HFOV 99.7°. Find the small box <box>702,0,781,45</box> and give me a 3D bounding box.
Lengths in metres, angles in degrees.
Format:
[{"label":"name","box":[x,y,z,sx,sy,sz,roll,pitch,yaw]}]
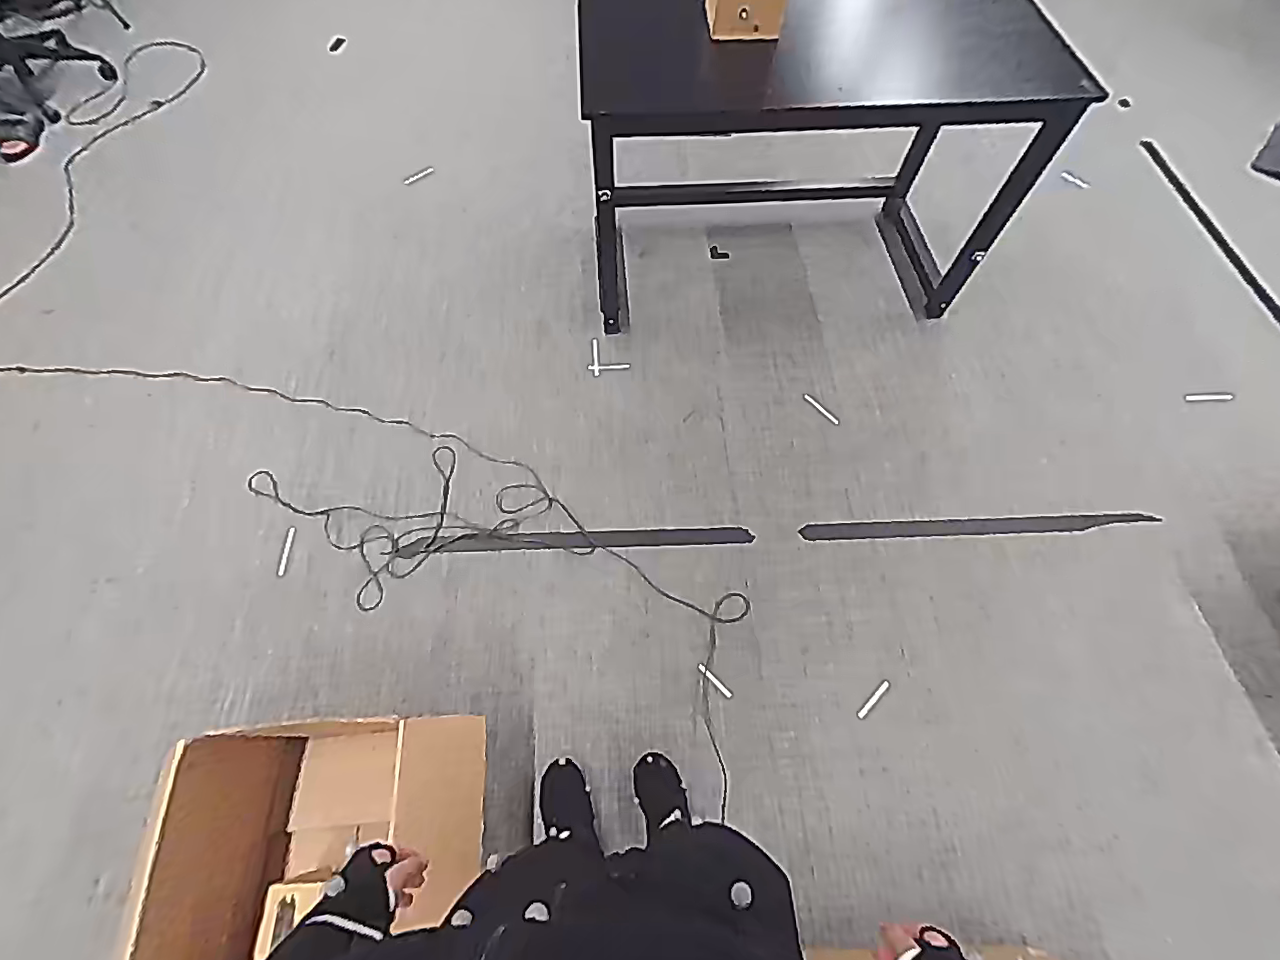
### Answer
[{"label":"small box","box":[0.247,-1.198,1.314,0.168,0.176,0.179,-3,64,-2]}]
